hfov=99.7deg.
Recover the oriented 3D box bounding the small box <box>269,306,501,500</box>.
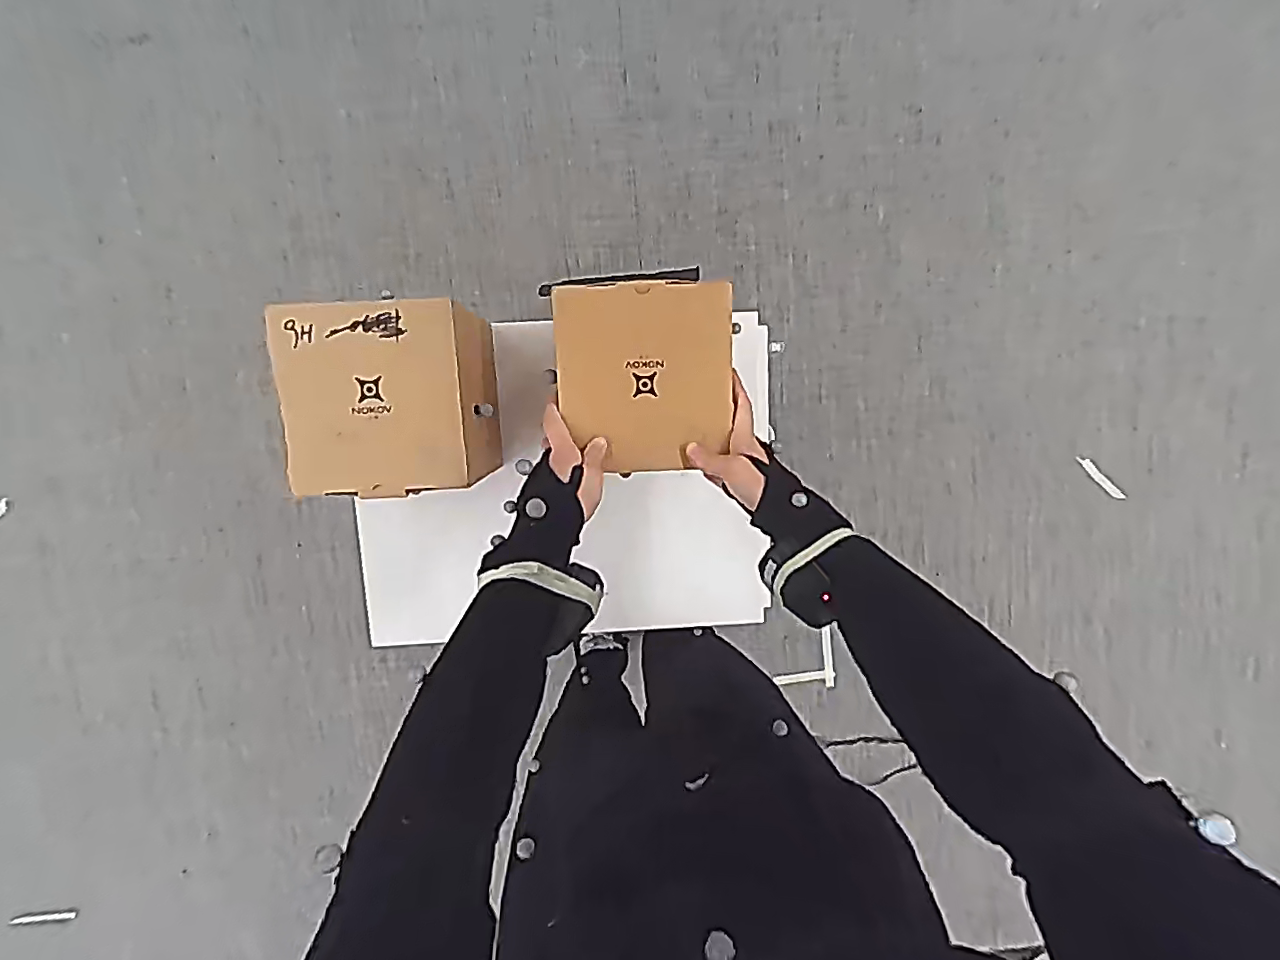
[{"bbox_3d":[-0.249,-0.082,0.576,0.168,0.176,0.179,-3,99,-3],"label":"small box"}]

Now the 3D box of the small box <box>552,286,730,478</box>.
[{"bbox_3d":[0.001,-0.102,0.585,0.168,0.176,0.179,-3,98,-2],"label":"small box"}]
